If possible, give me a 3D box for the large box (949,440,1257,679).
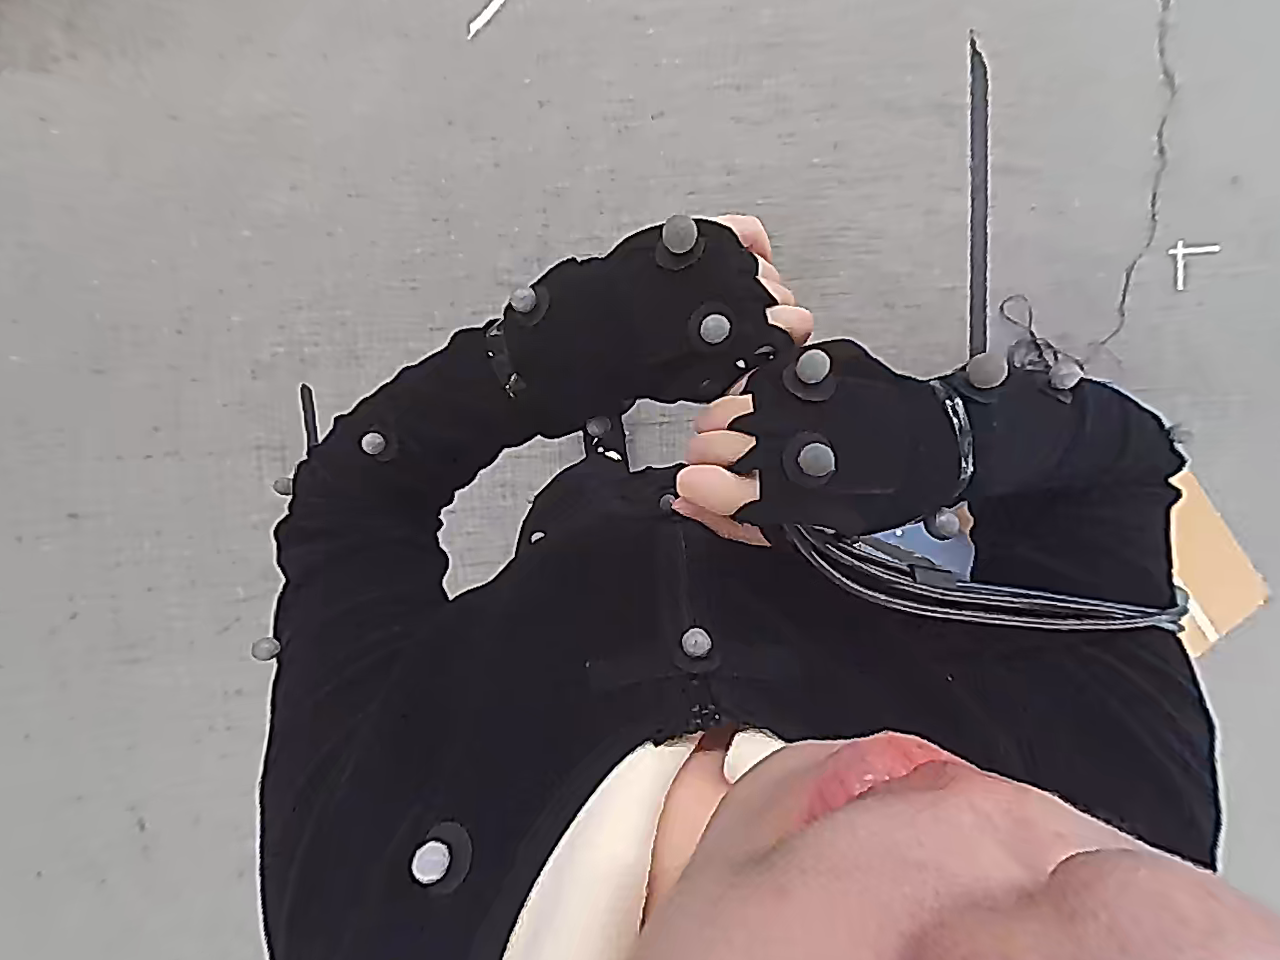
[{"bbox_3d":[1.023,0.155,1.240,0.320,0.320,0.408,-37,96,0],"label":"large box"}]
